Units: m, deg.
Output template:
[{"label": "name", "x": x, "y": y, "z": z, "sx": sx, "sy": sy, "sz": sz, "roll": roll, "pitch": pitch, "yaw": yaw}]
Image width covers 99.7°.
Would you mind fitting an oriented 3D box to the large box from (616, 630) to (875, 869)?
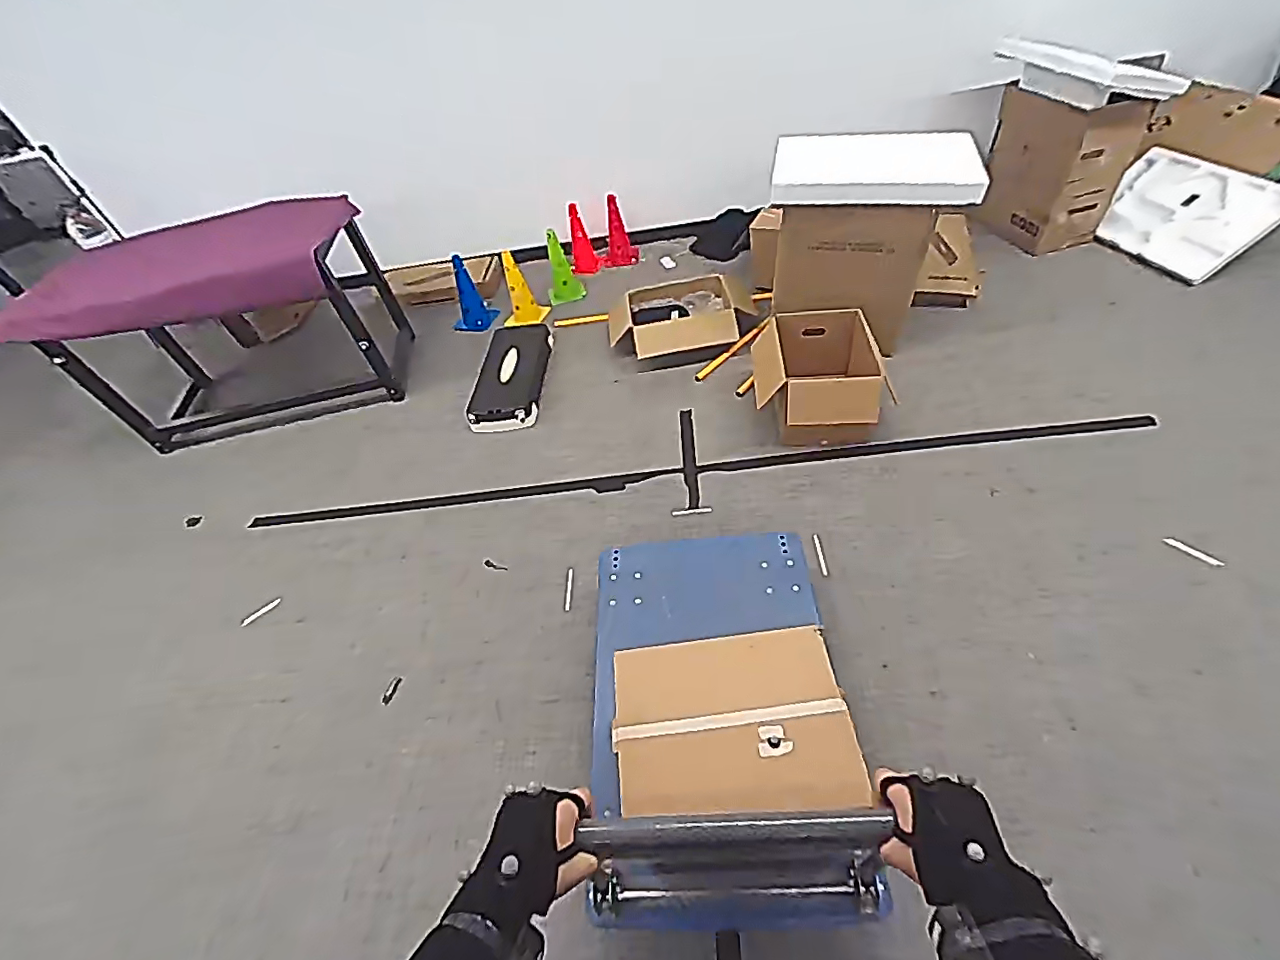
[{"label": "large box", "x": 0.179, "y": 0.534, "z": 1.064, "sx": 0.408, "sy": 0.320, "sz": 0.320, "roll": -8, "pitch": 48, "yaw": 1}]
